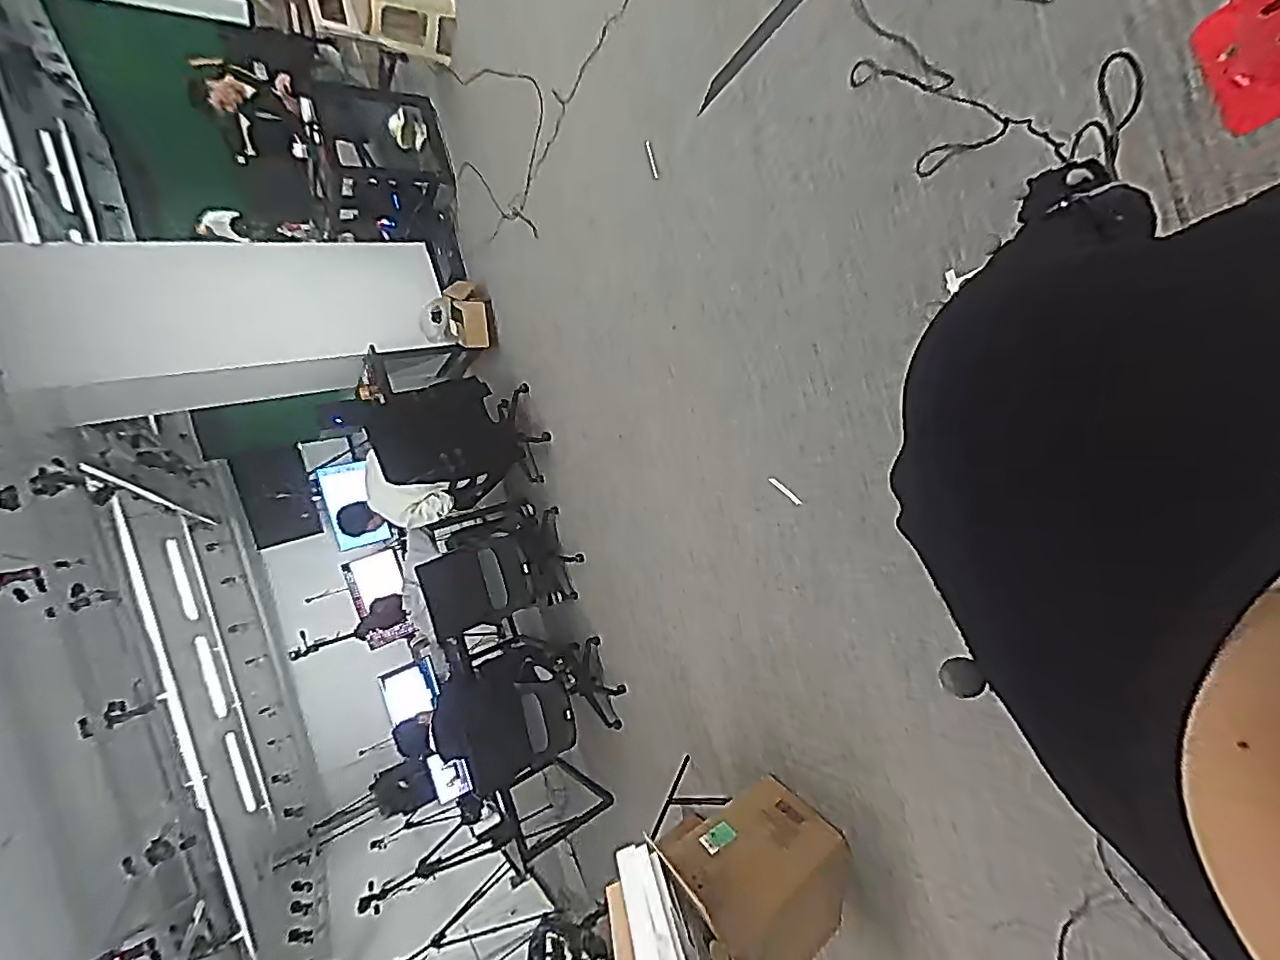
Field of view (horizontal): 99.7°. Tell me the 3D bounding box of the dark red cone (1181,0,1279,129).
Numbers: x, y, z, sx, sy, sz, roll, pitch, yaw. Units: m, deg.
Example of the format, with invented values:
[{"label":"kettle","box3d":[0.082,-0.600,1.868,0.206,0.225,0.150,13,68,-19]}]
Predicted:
[{"label":"dark red cone","box3d":[0.812,-0.621,0.694,0.202,0.394,0.201,-27,80,58]}]
